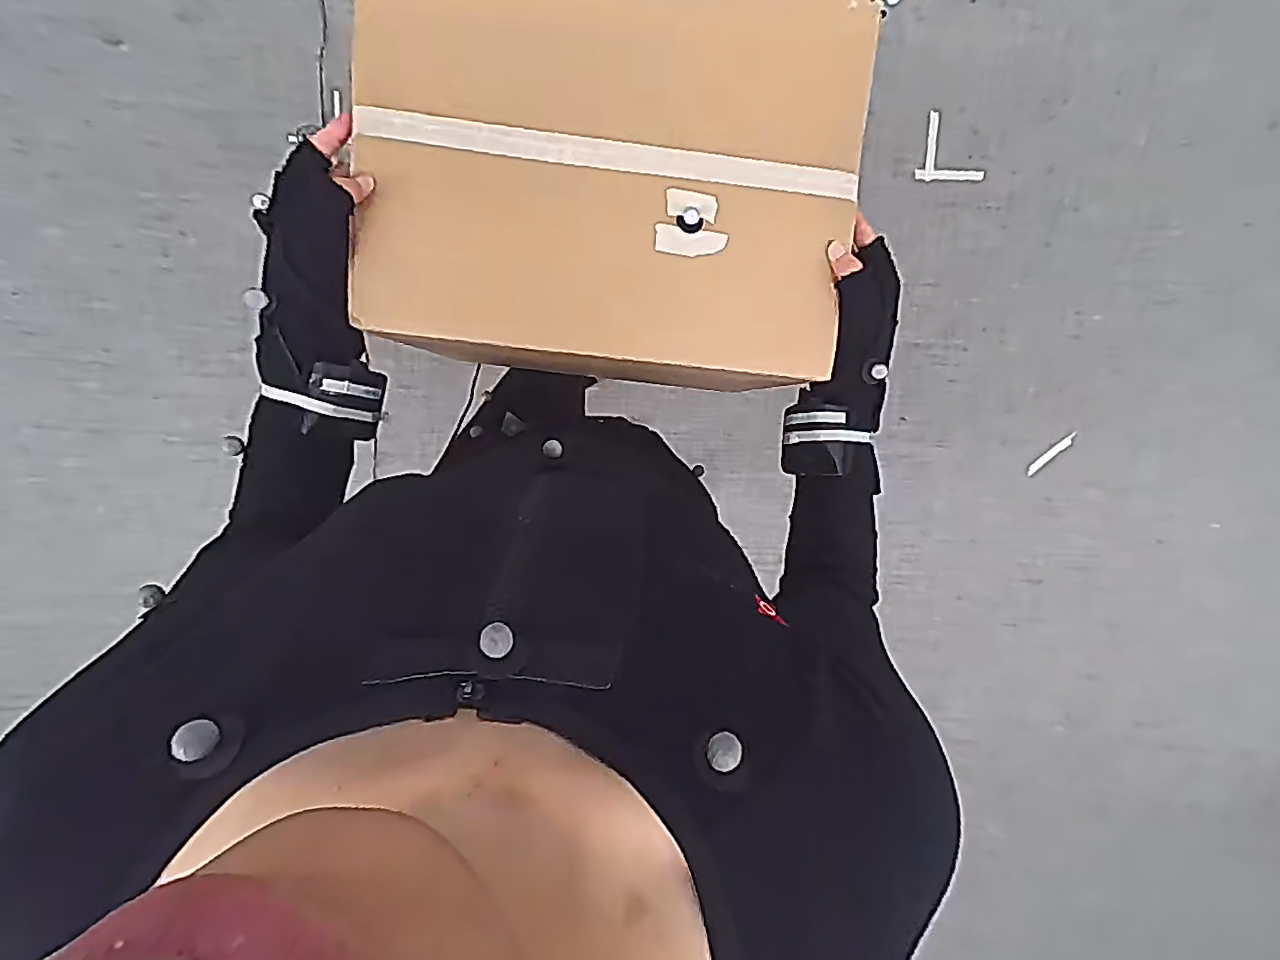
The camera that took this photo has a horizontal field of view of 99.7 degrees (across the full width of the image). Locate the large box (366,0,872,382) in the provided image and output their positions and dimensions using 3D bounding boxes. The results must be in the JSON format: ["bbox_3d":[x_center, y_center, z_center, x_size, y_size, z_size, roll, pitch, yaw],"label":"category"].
[{"bbox_3d":[-0.029,-0.289,0.592,0.408,0.320,0.320,5,97,-5],"label":"large box"}]
